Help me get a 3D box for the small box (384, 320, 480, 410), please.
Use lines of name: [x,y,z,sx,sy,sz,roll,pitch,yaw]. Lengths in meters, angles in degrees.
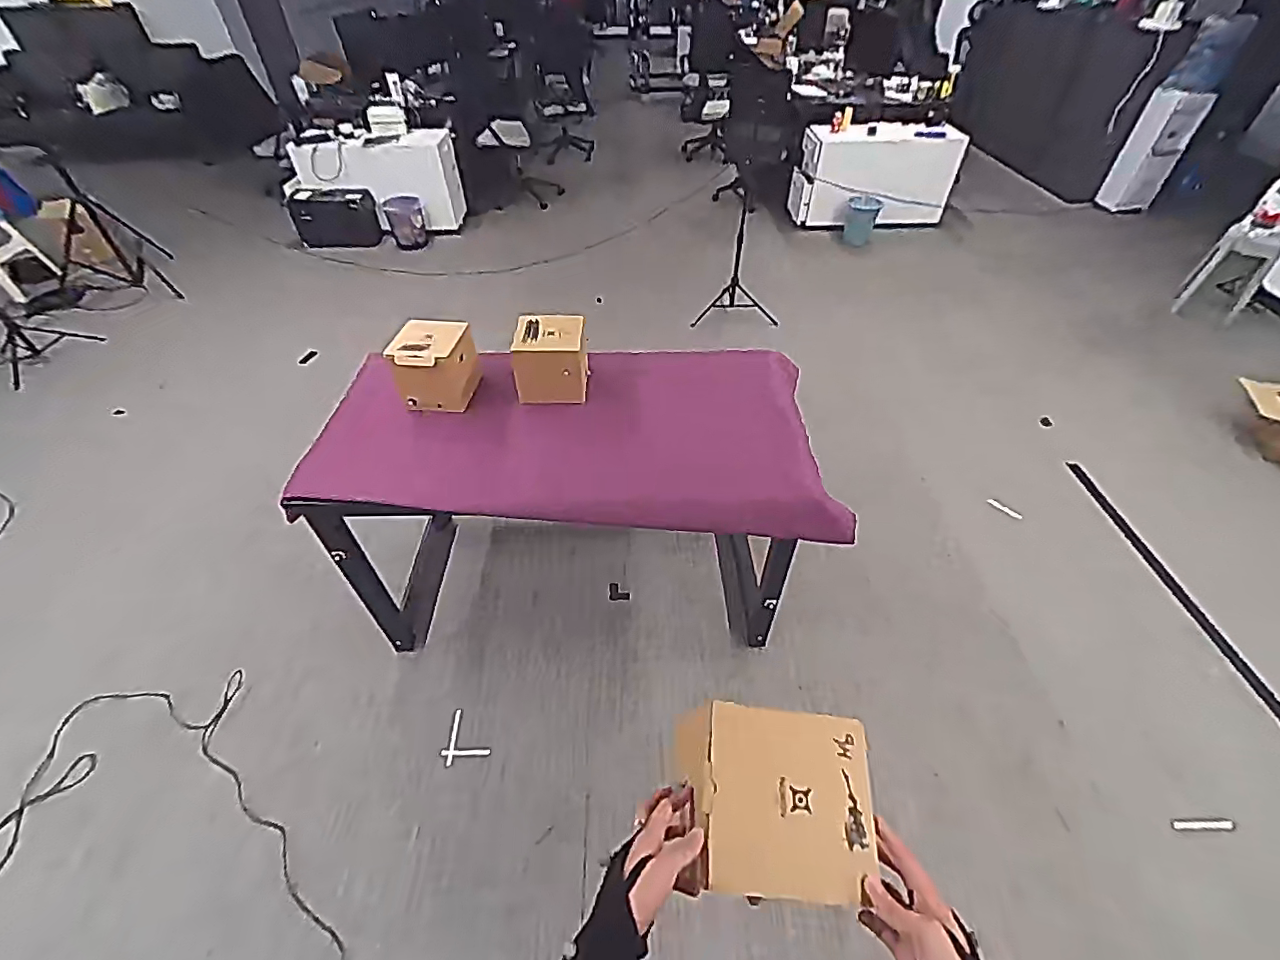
small box: [-0.536,-0.300,1.424,0.168,0.176,0.179,4,46,3]
